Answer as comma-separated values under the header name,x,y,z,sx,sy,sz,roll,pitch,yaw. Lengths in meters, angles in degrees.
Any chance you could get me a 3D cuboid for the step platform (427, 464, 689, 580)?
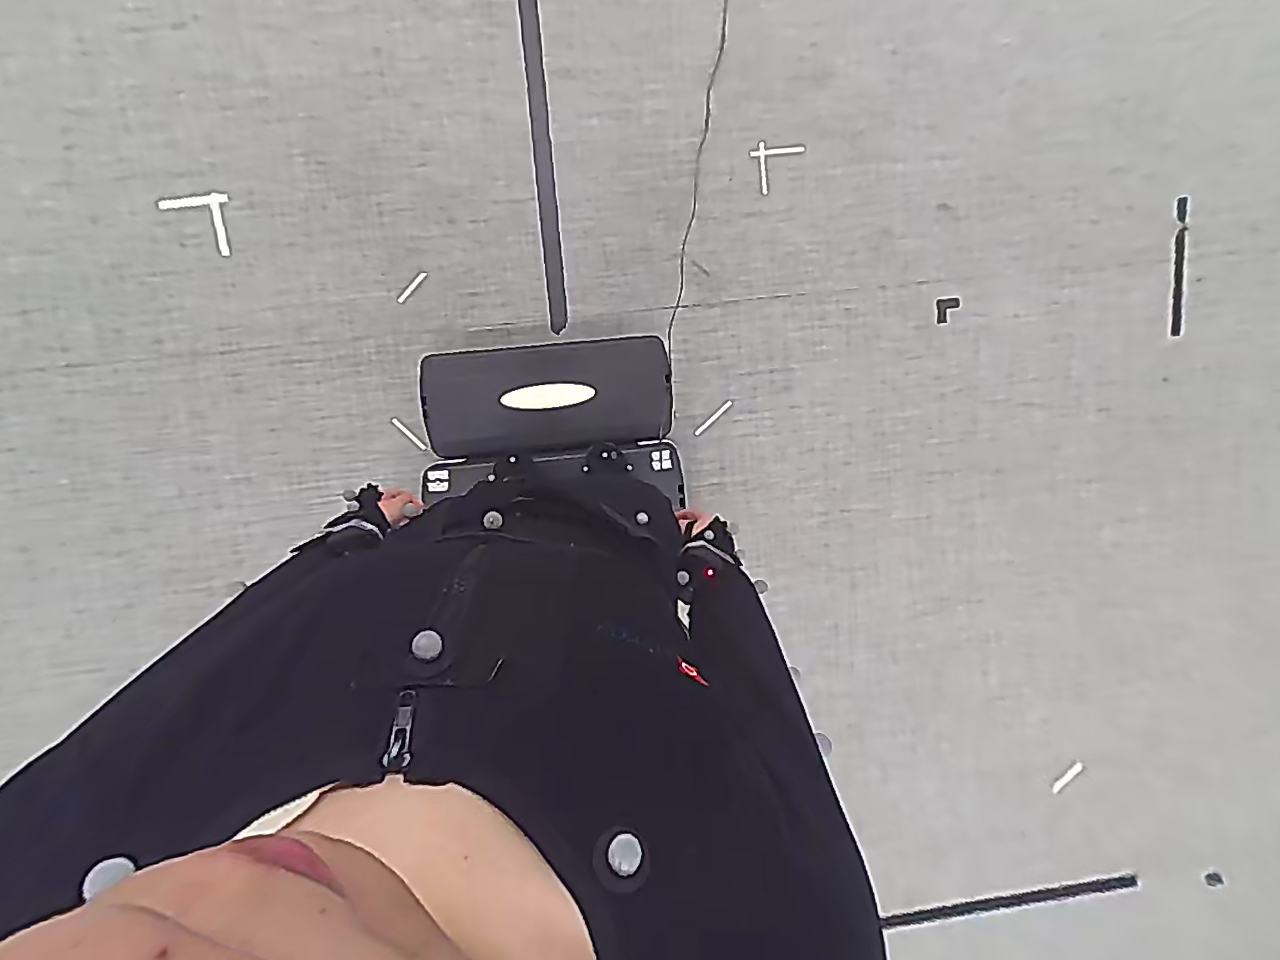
name,x,y,z,sx,sy,sz,roll,pitch,yaw
step platform,-0.210,0.109,1.462,0.684,0.204,0.286,-1,94,-2
